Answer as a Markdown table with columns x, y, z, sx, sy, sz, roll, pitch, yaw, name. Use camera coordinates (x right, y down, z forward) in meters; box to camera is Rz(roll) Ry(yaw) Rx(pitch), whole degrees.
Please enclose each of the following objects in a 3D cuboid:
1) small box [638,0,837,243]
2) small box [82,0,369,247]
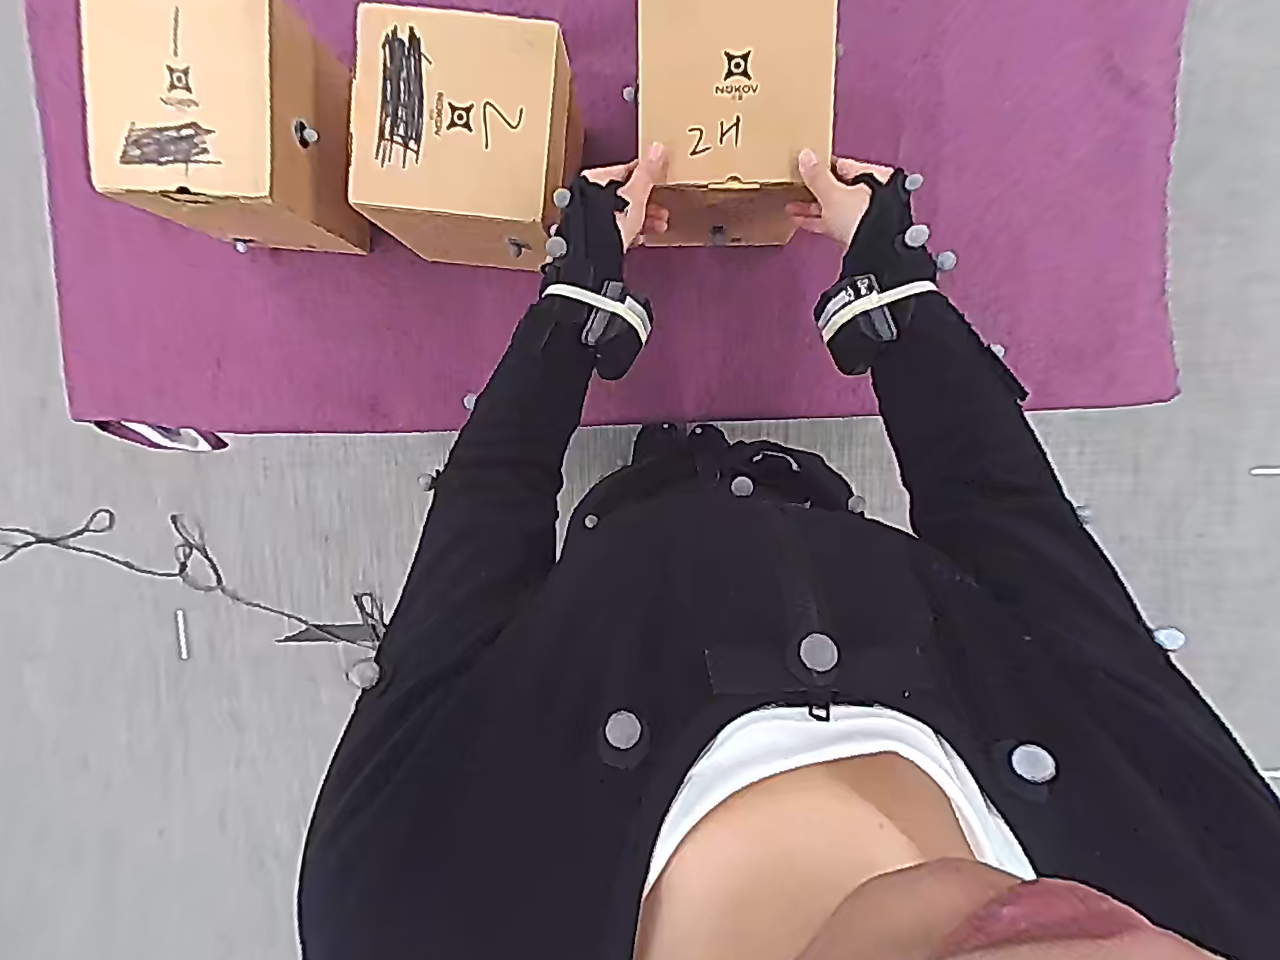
| x | y | z | sx | sy | sz | roll | pitch | yaw | name |
| --- | --- | --- | --- | --- | --- | --- | --- | --- | --- |
| 0.082 | -0.352 | 0.532 | 0.168 | 0.176 | 0.179 | 1 | 97 | 2 | small box |
| -0.396 | -0.352 | 0.548 | 0.168 | 0.176 | 0.179 | 4 | 97 | 1 | small box |
